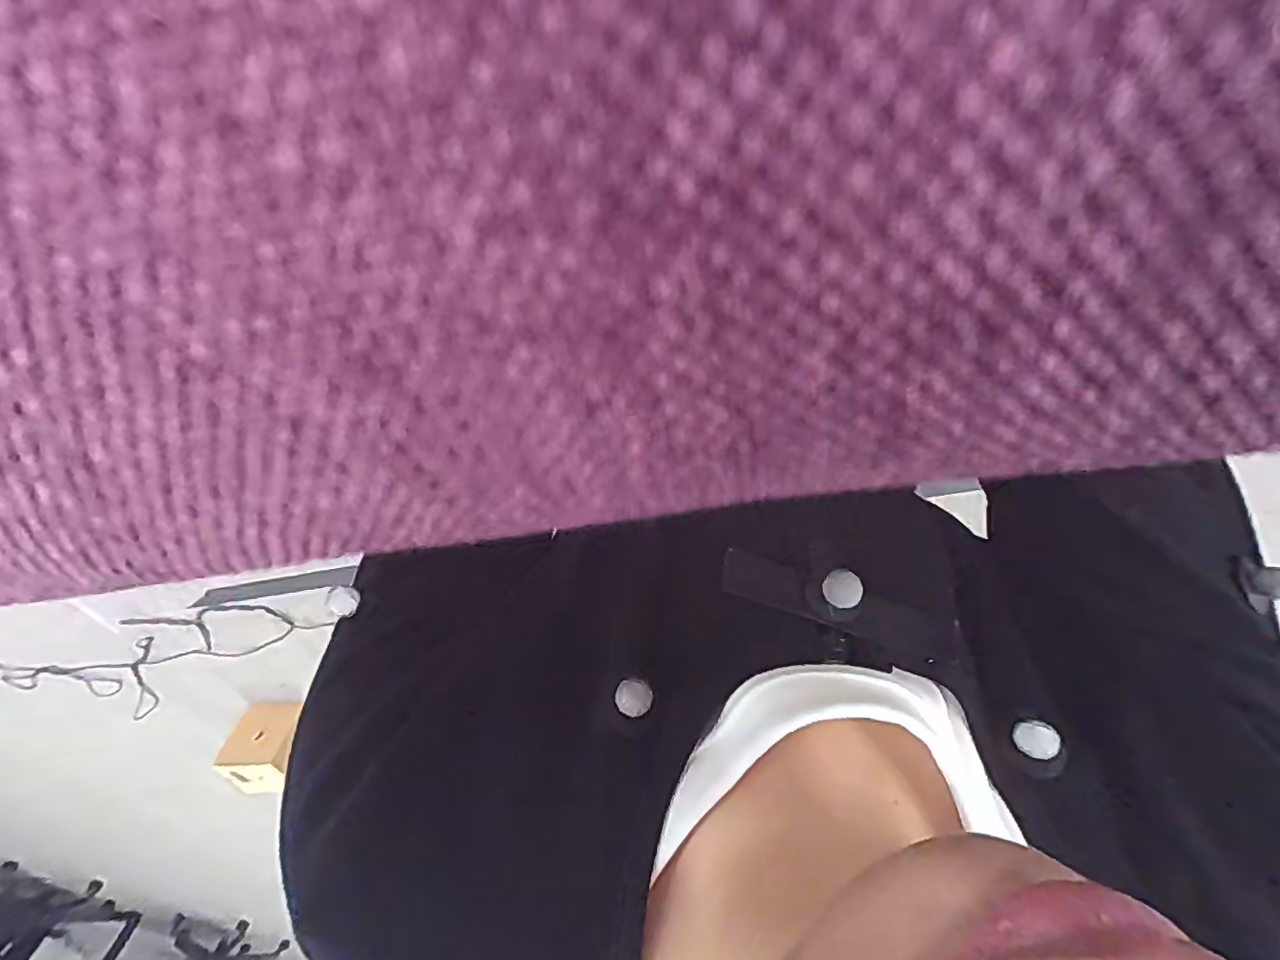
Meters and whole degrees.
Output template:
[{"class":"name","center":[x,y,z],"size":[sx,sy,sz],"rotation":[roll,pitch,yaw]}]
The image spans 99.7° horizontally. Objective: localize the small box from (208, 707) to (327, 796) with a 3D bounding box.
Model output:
[{"class":"small box","center":[-1.016,0.747,1.494],"size":[0.179,0.176,0.168],"rotation":[-6,128,7]}]
